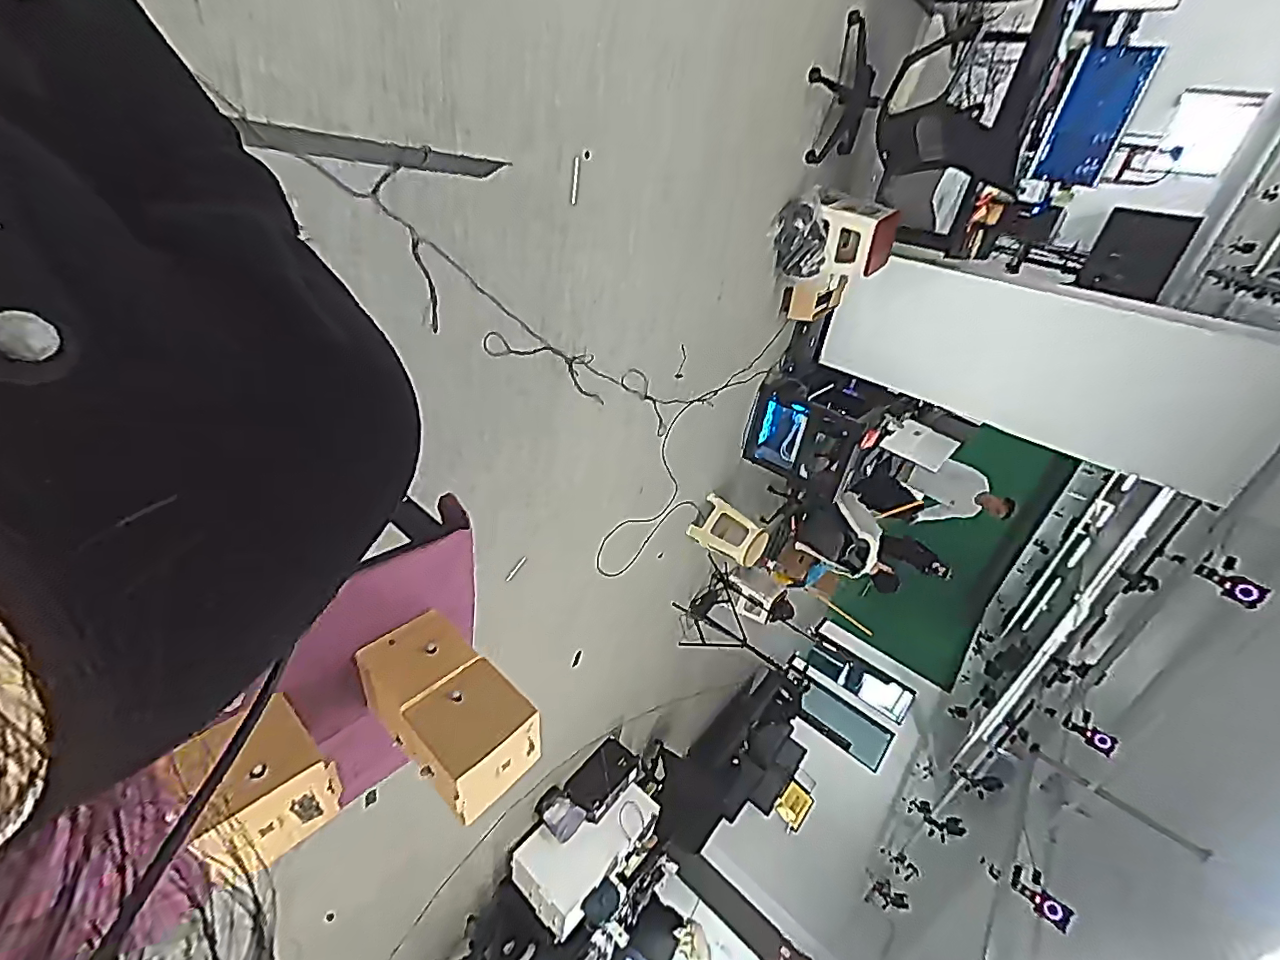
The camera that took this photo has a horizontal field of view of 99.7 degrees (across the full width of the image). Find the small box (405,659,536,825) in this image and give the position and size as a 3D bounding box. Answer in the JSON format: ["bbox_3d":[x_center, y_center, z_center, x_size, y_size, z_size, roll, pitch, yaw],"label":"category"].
[{"bbox_3d":[-0.313,0.475,0.999,0.179,0.176,0.168,-30,139,-40],"label":"small box"}]

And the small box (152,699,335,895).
[{"bbox_3d":[-0.627,0.494,0.867,0.179,0.176,0.168,-27,136,-43],"label":"small box"}]

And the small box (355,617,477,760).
[{"bbox_3d":[-0.438,0.399,1.073,0.168,0.176,0.179,-29,138,-42],"label":"small box"}]
